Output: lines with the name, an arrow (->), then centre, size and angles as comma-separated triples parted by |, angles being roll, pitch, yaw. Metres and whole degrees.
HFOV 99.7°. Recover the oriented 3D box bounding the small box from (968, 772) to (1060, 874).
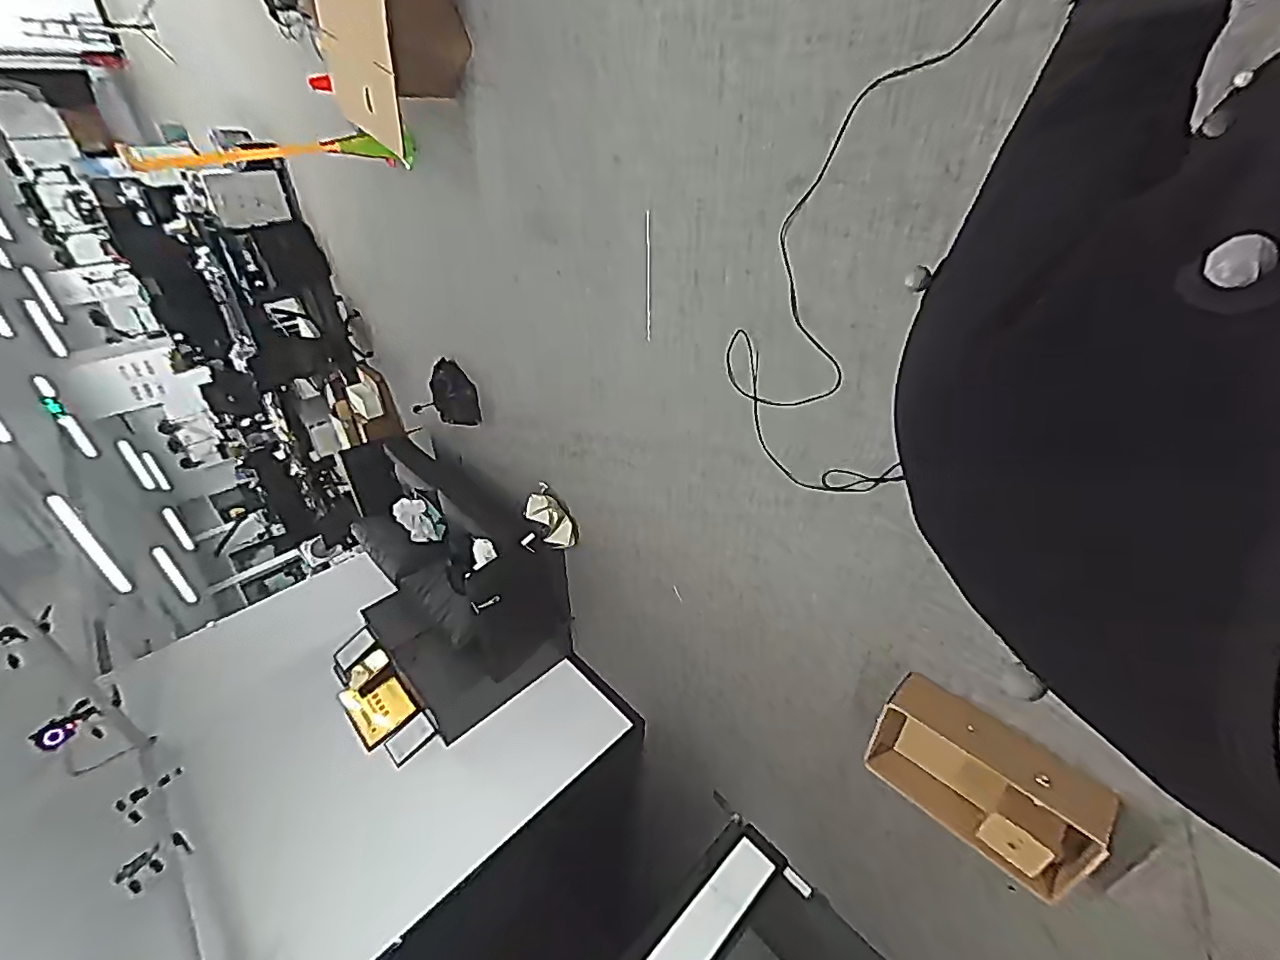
small box -> 1.157, 1.054, 1.672 | 0.168, 0.176, 0.179 | 31, 136, 36
